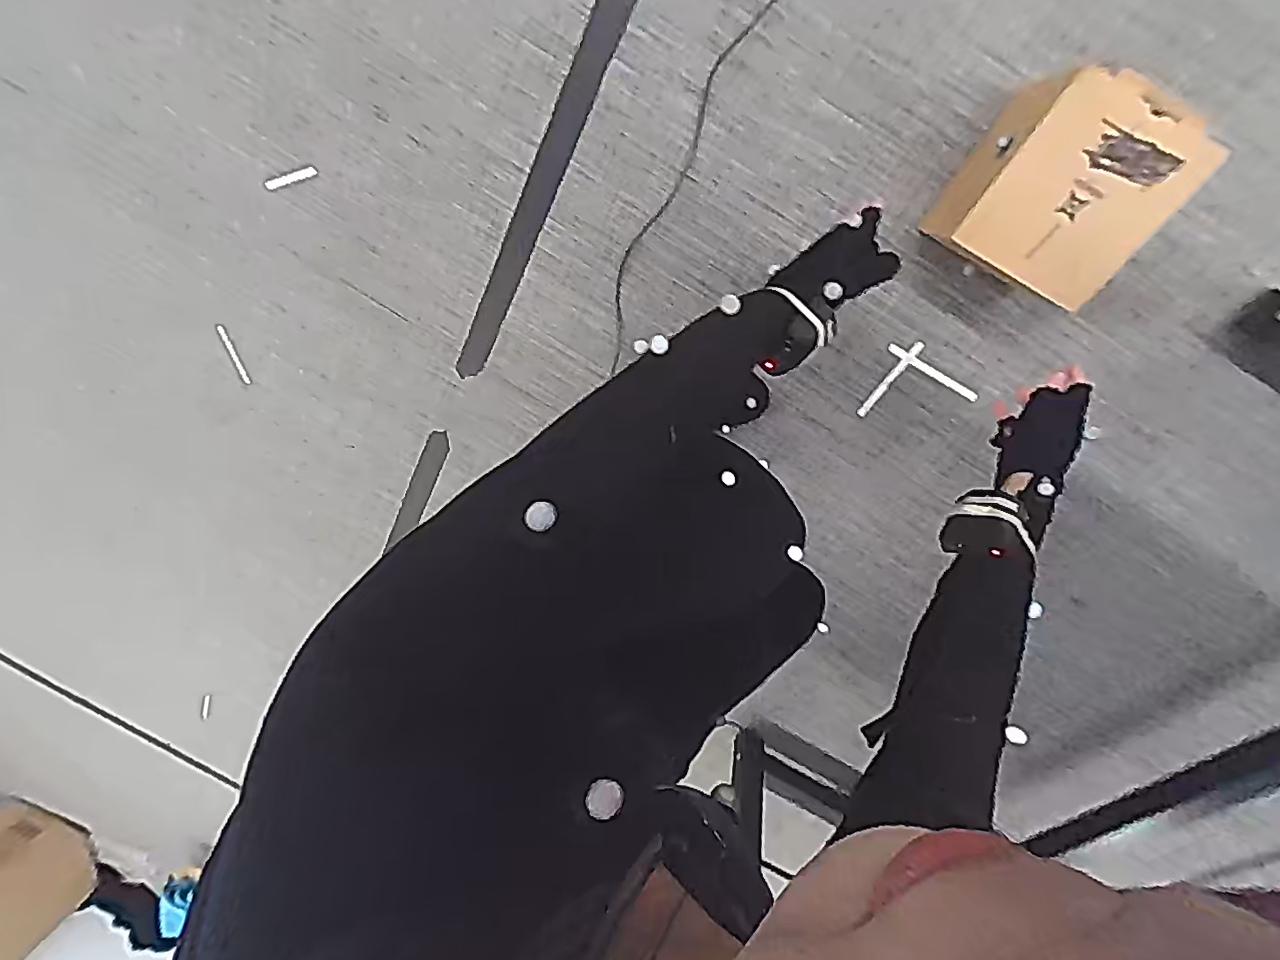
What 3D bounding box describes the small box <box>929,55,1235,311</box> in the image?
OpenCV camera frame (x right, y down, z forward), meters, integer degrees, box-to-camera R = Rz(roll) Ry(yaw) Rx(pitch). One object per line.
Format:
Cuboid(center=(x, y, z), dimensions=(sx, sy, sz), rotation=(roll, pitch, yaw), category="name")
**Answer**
Cuboid(center=(0.465, -0.324, 0.610), dimensions=(0.168, 0.176, 0.179), rotation=(31, 120, -3), category="small box")
